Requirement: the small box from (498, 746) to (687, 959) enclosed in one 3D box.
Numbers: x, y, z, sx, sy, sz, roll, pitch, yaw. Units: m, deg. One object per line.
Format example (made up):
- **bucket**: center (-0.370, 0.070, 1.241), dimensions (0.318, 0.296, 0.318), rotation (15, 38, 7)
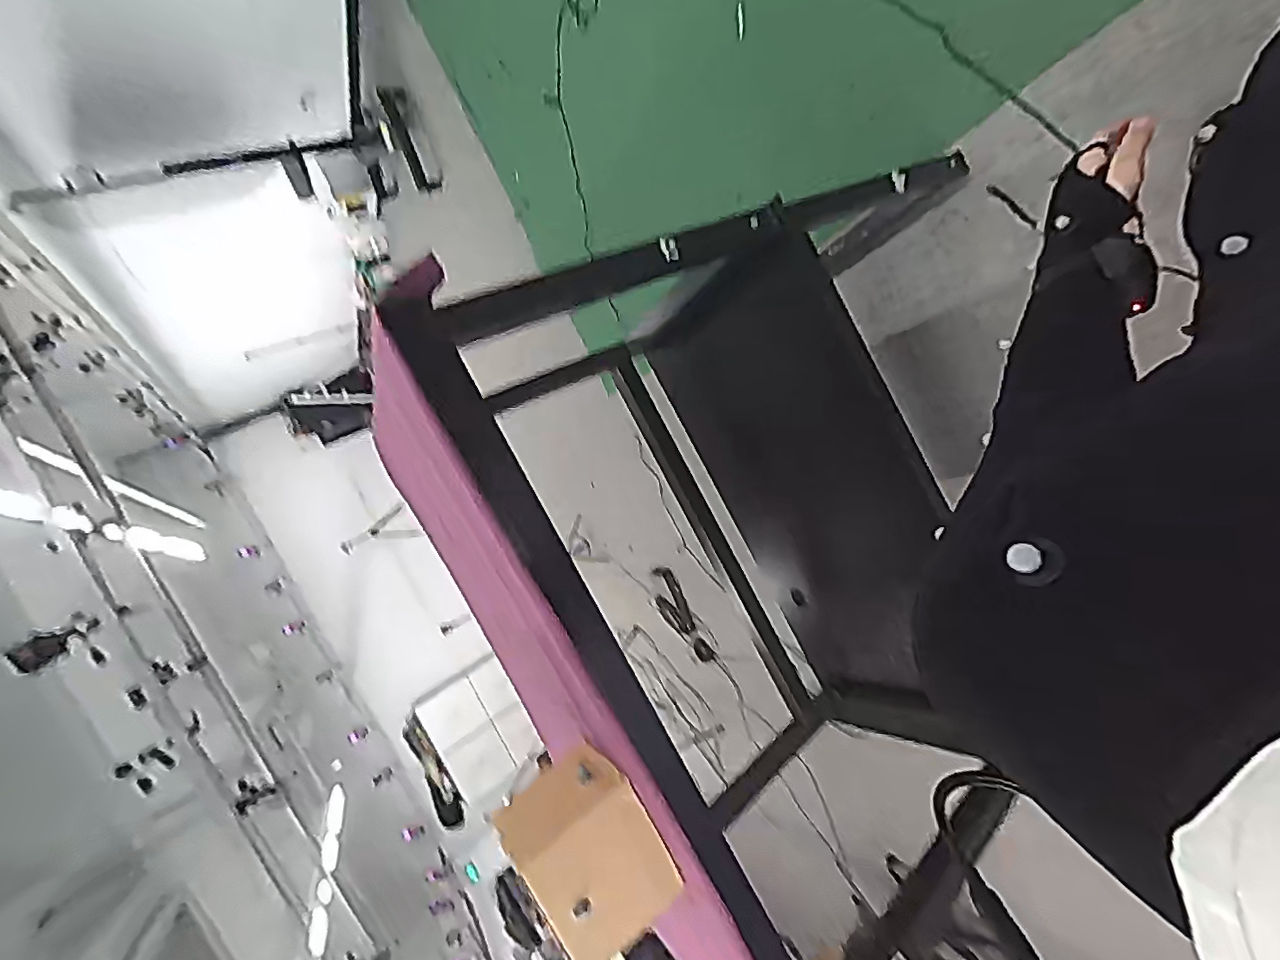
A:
- **small box**: center (-0.065, 0.509, 0.736), dimensions (0.168, 0.176, 0.179), rotation (-18, 99, 62)
